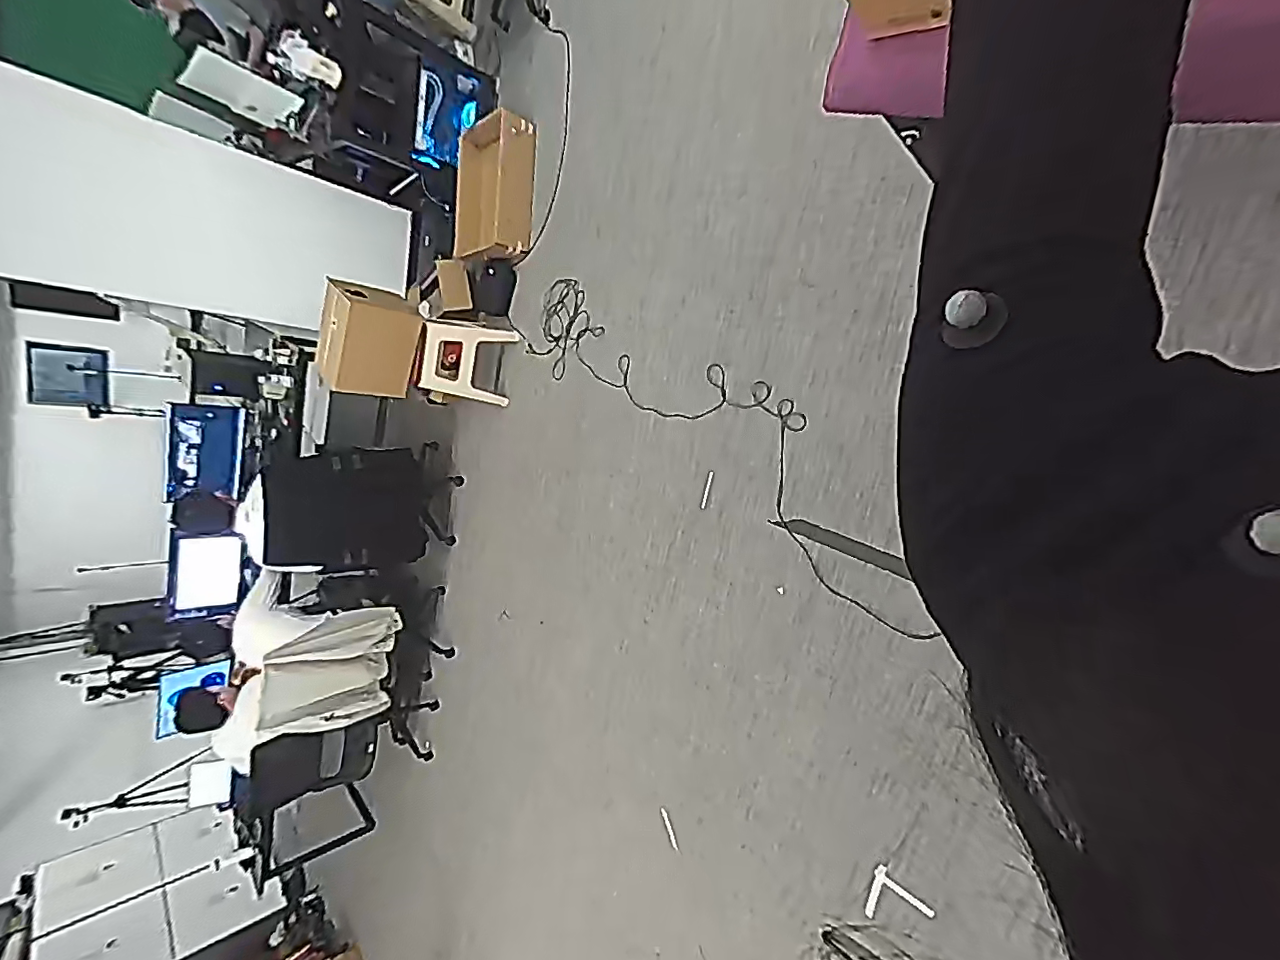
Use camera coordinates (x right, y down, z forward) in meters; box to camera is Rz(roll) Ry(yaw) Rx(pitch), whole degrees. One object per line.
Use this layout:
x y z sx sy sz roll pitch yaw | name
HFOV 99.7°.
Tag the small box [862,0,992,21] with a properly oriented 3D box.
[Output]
0.368 -0.712 0.664 0.168 0.176 0.179 24 105 38 | small box
